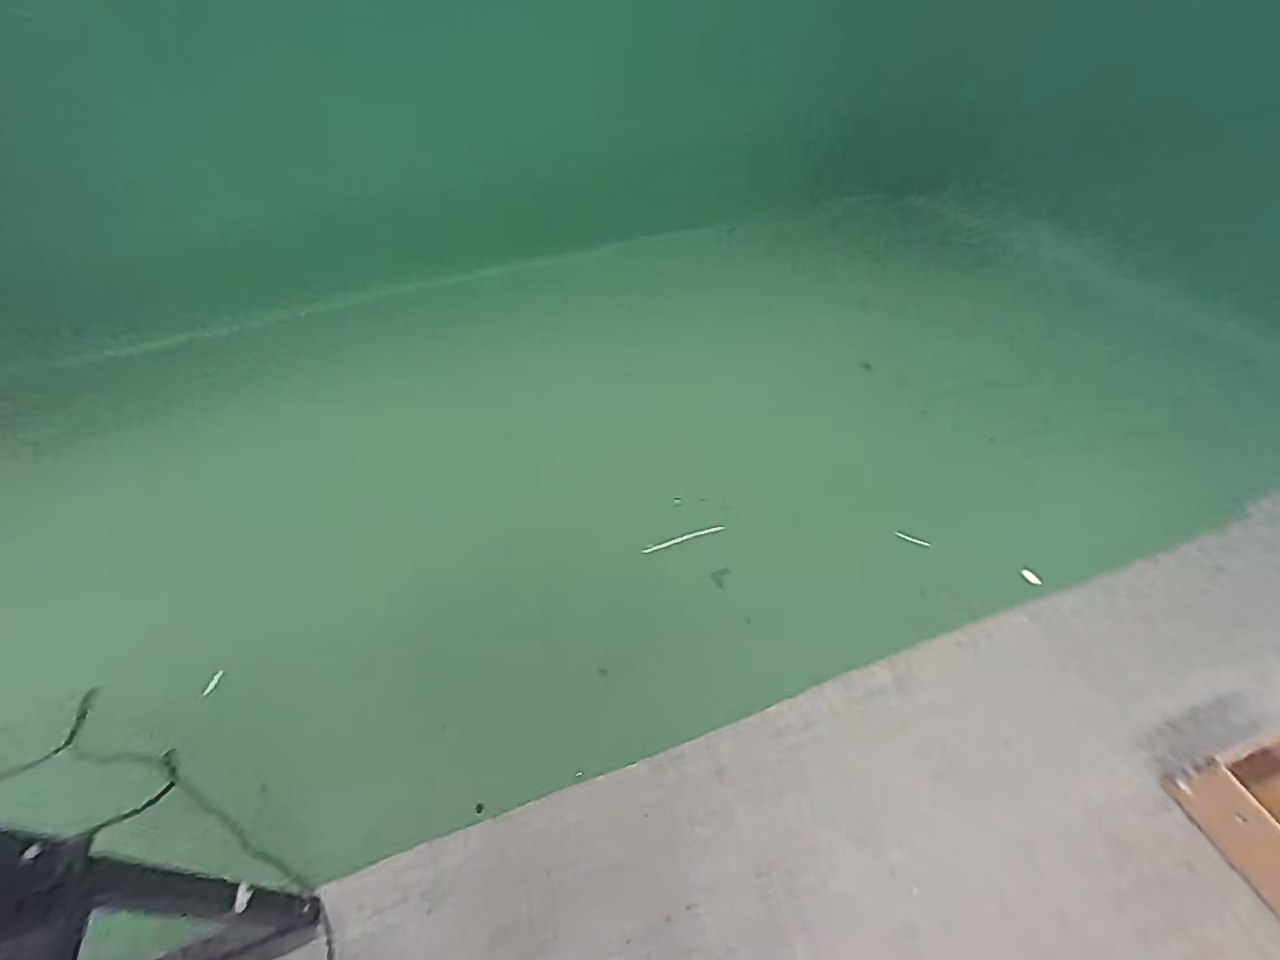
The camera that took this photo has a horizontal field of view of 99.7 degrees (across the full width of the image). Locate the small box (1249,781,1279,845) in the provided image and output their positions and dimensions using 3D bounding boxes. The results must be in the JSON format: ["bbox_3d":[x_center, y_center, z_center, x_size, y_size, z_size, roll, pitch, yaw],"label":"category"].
[{"bbox_3d":[1.551,0.765,1.210,0.179,0.176,0.168,-7,47,-3],"label":"small box"}]
